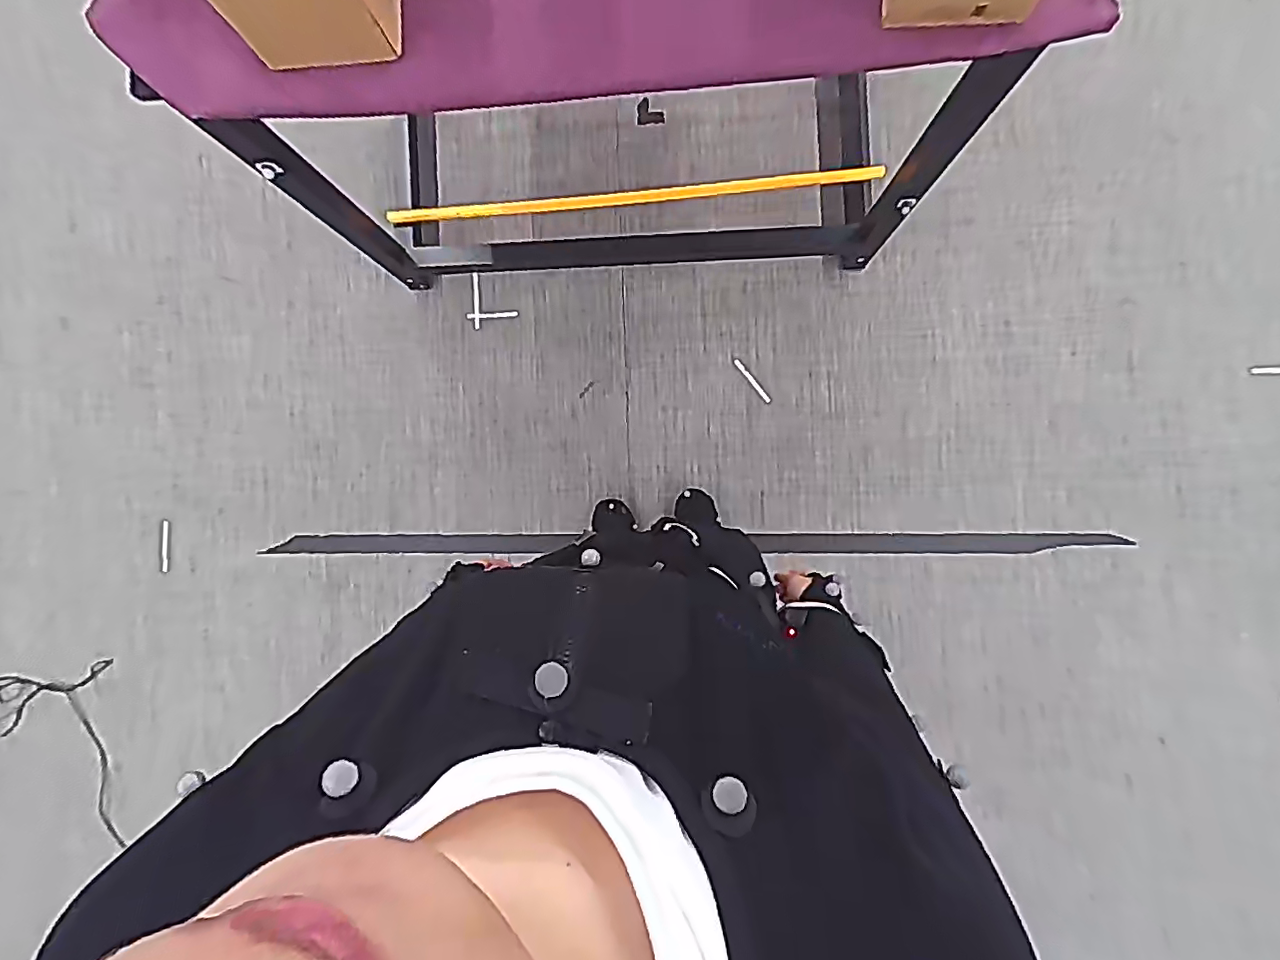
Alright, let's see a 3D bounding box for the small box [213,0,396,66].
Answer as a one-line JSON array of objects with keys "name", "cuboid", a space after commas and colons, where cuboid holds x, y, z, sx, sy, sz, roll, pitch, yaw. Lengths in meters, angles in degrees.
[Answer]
[{"name": "small box", "cuboid": [-0.406, -0.619, 0.622, 0.179, 0.176, 0.168, -3, 87, 2]}]
